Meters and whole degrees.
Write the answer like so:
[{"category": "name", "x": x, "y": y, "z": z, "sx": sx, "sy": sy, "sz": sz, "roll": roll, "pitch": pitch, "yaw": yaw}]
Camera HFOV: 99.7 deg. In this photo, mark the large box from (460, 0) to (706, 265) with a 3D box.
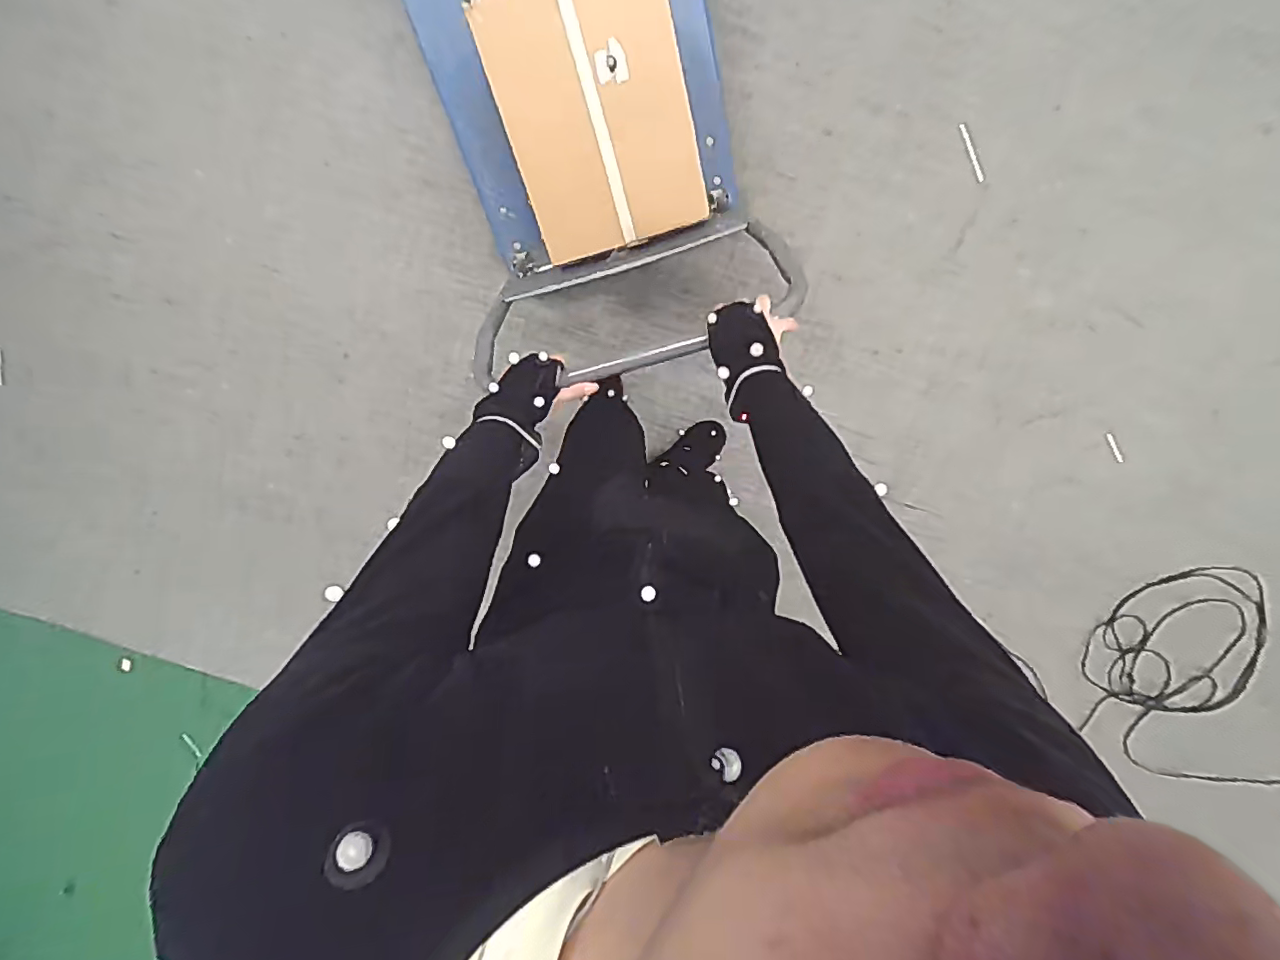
[{"category": "large box", "x": -0.084, "y": -0.690, "z": 1.056, "sx": 0.320, "sy": 0.320, "sz": 0.408, "roll": -16, "pitch": 119, "yaw": 6}]
